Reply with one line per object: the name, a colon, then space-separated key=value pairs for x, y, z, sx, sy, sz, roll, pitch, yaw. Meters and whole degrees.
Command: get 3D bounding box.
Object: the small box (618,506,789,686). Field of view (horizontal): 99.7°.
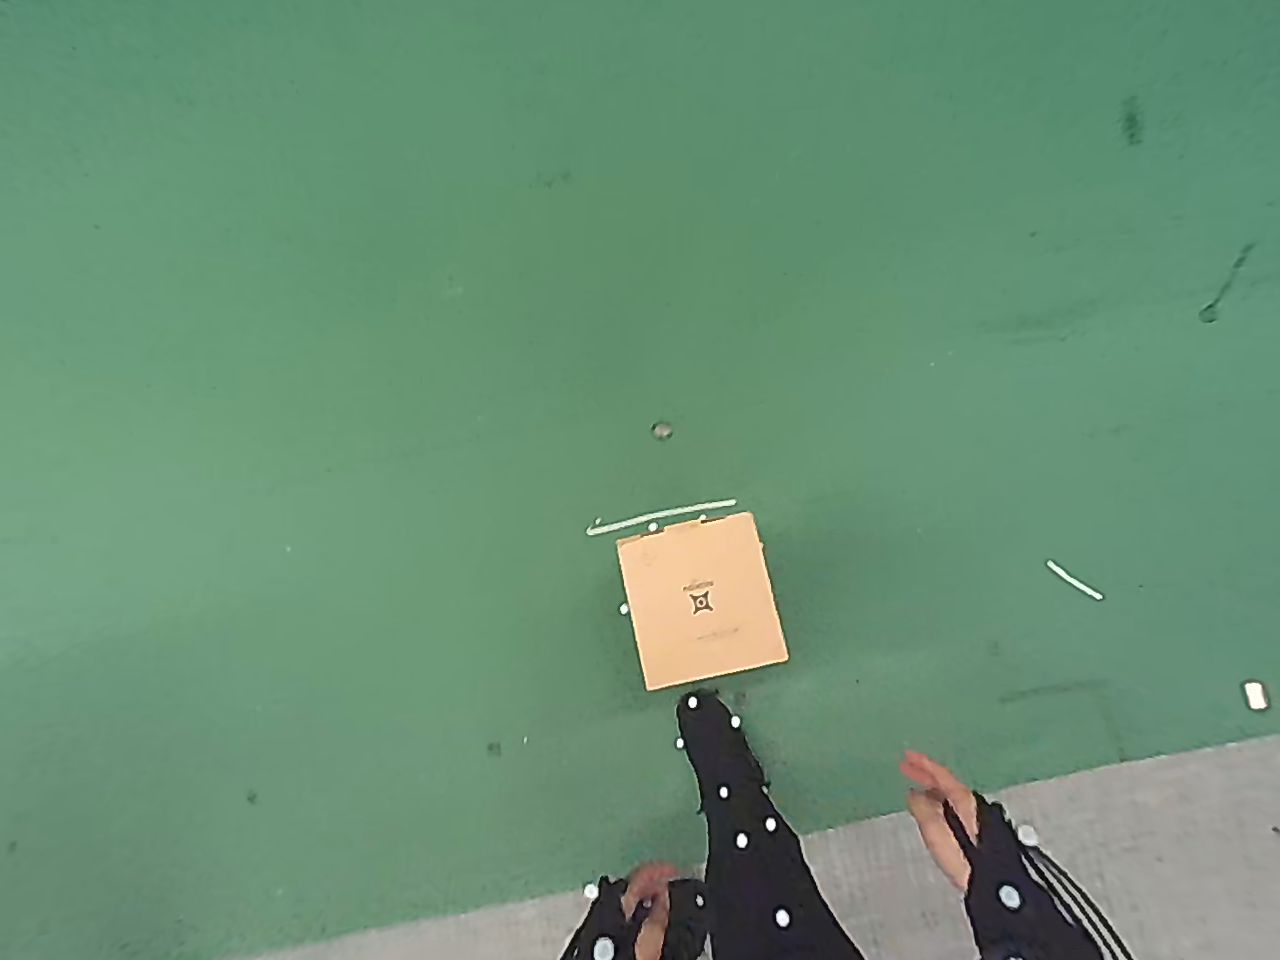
small box: x=0.074 y=0.143 z=0.695 sx=0.168 sy=0.176 sz=0.179 roll=-14 pitch=82 yaw=2
